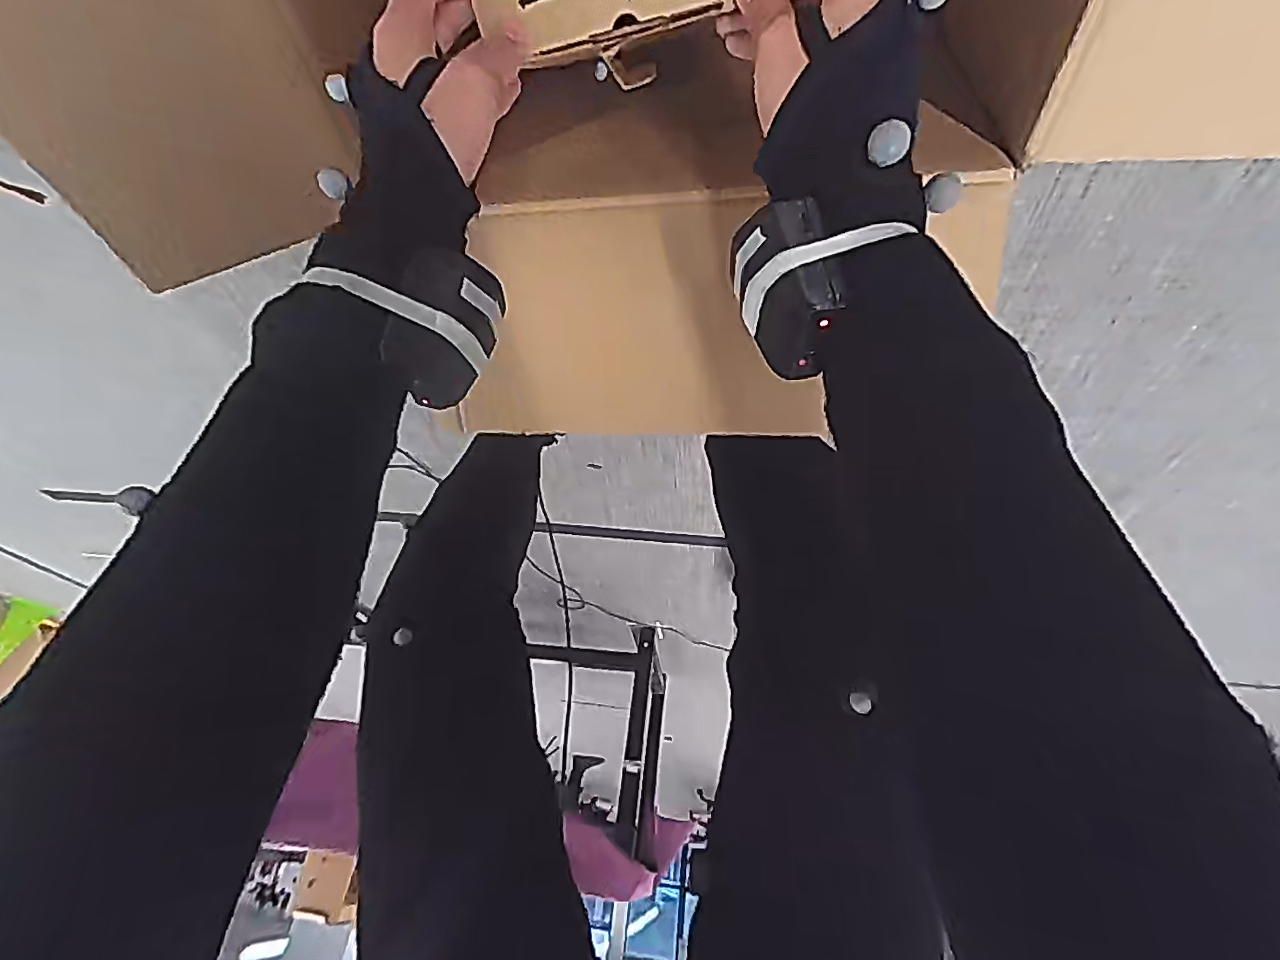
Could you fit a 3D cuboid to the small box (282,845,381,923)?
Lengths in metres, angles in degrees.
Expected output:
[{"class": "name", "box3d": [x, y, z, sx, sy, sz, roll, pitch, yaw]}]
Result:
[{"class": "small box", "box3d": [-0.929, 1.221, 1.644, 0.168, 0.176, 0.179, 4, 146, 8]}]
